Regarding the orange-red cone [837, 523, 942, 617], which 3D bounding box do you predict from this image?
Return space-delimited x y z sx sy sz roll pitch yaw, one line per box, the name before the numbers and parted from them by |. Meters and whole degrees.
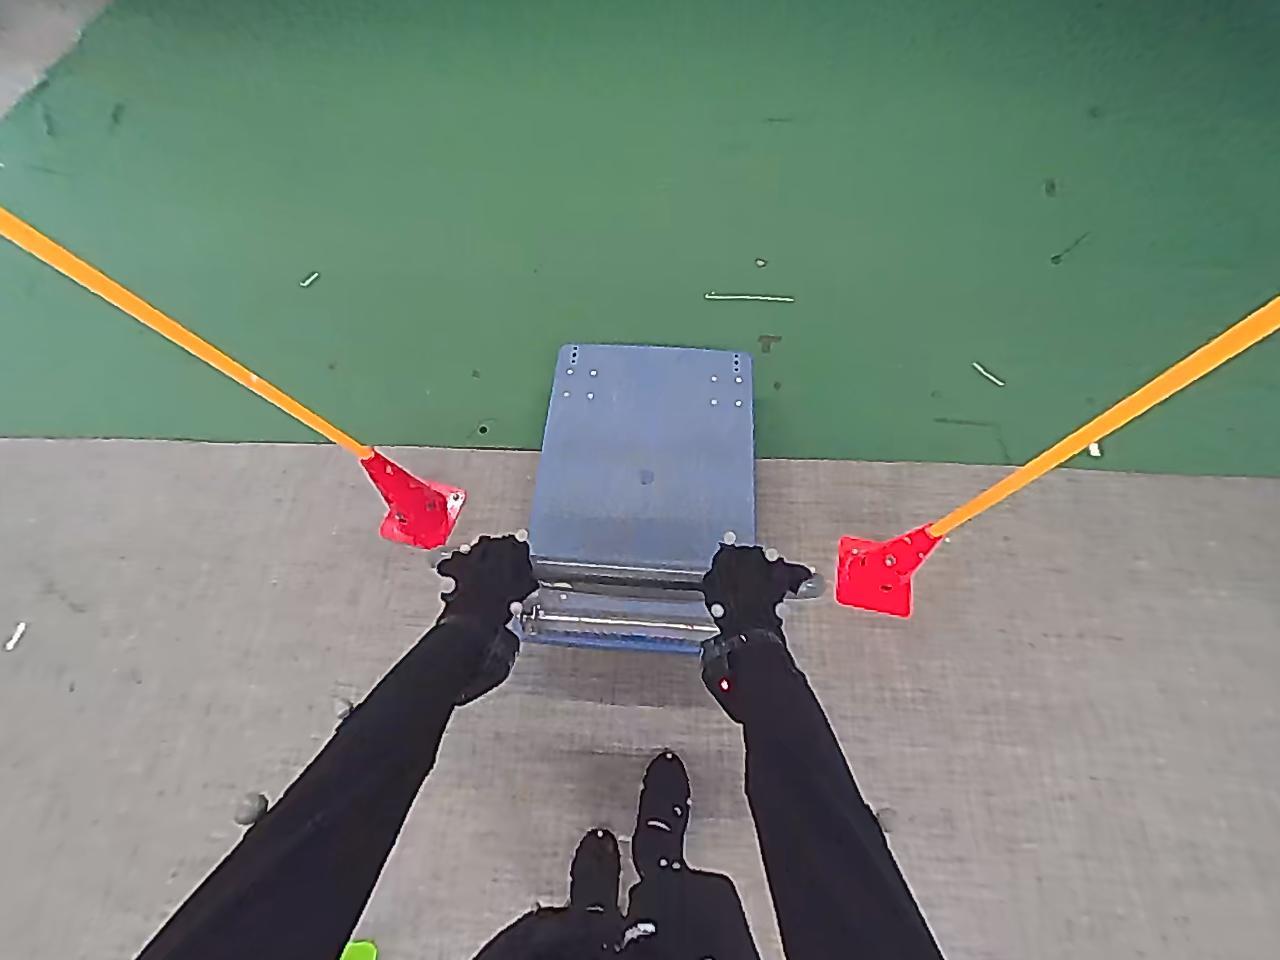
orange-red cone | 0.641 0.188 1.326 0.198 0.360 0.199 12 65 7
